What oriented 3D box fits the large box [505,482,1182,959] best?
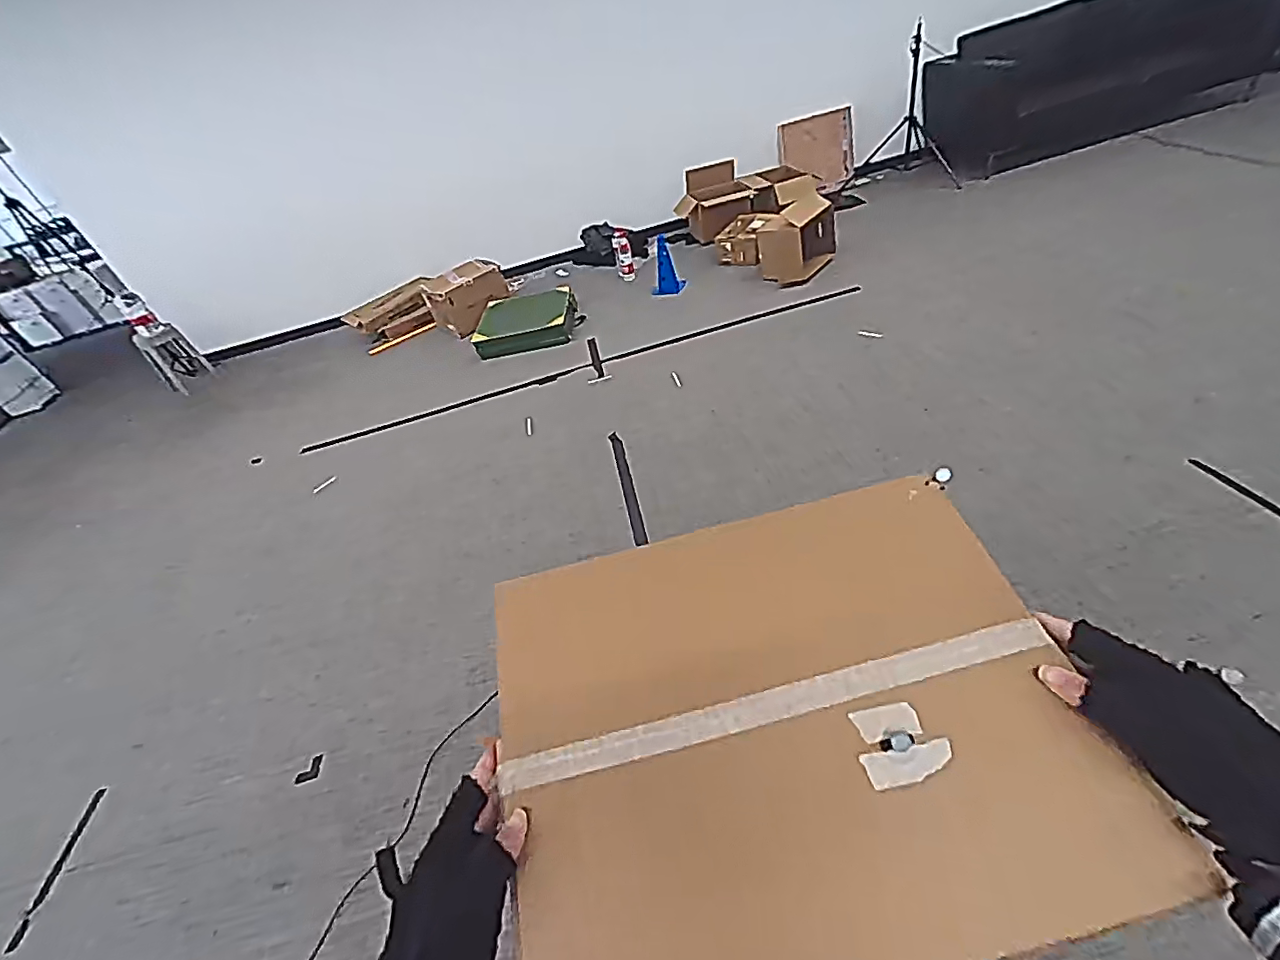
[{"bbox_3d":[0.120,0.256,0.522,0.408,0.320,0.320,-14,53,-2],"label":"large box"}]
